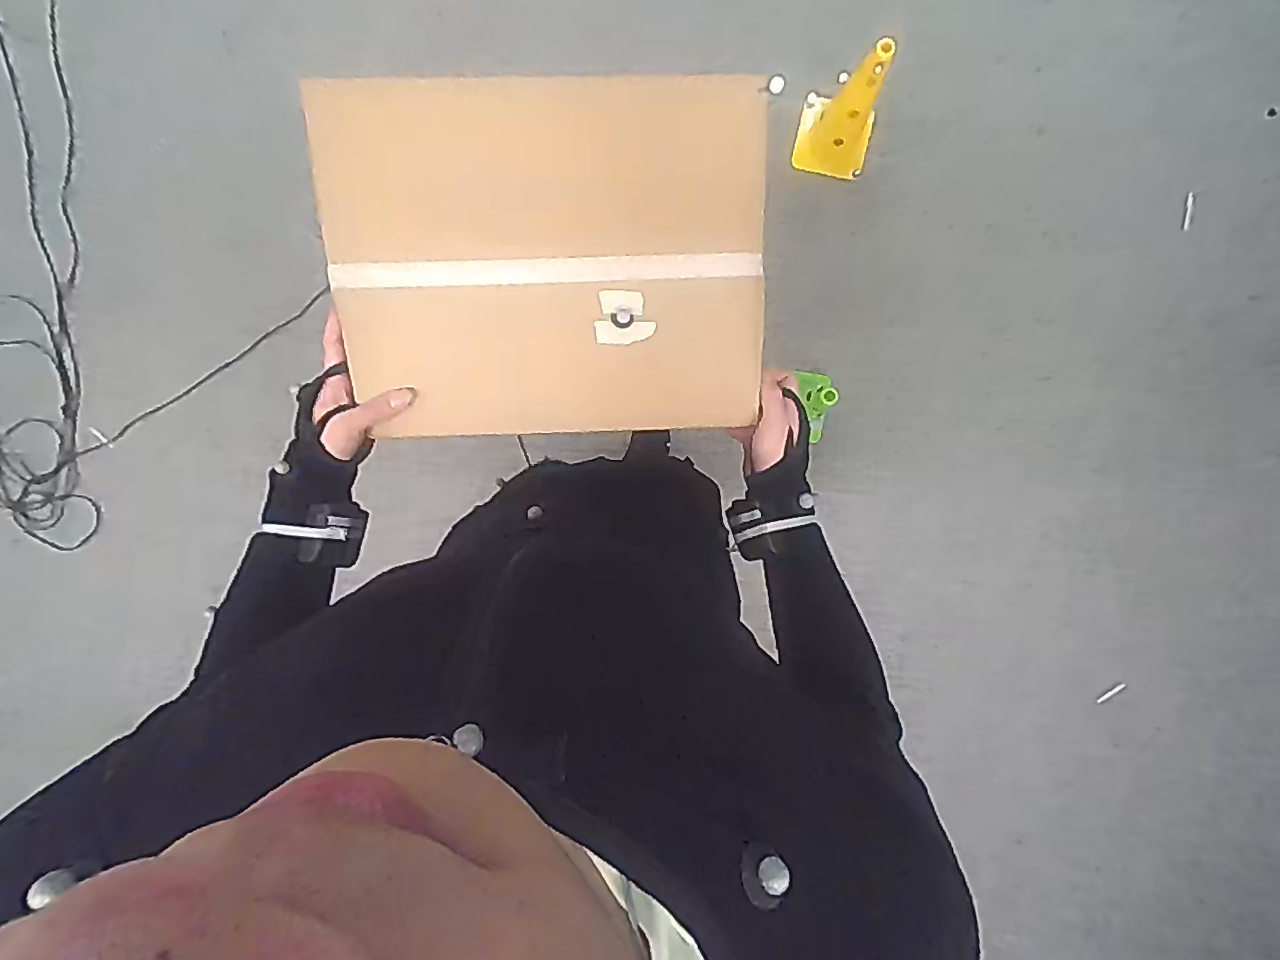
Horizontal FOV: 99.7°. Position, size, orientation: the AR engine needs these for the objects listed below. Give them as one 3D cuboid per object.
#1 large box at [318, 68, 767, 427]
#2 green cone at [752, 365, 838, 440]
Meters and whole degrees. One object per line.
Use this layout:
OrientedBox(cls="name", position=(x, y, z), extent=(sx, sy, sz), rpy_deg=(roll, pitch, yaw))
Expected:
OrientedBox(cls="large box", position=(-0.088, -0.252, 0.660), extent=(0.408, 0.320, 0.320), rpy_deg=(-2, 107, -3))
OrientedBox(cls="green cone", position=(0.438, -0.215, 1.413), extent=(0.200, 0.368, 0.202), rpy_deg=(9, 94, 0))
